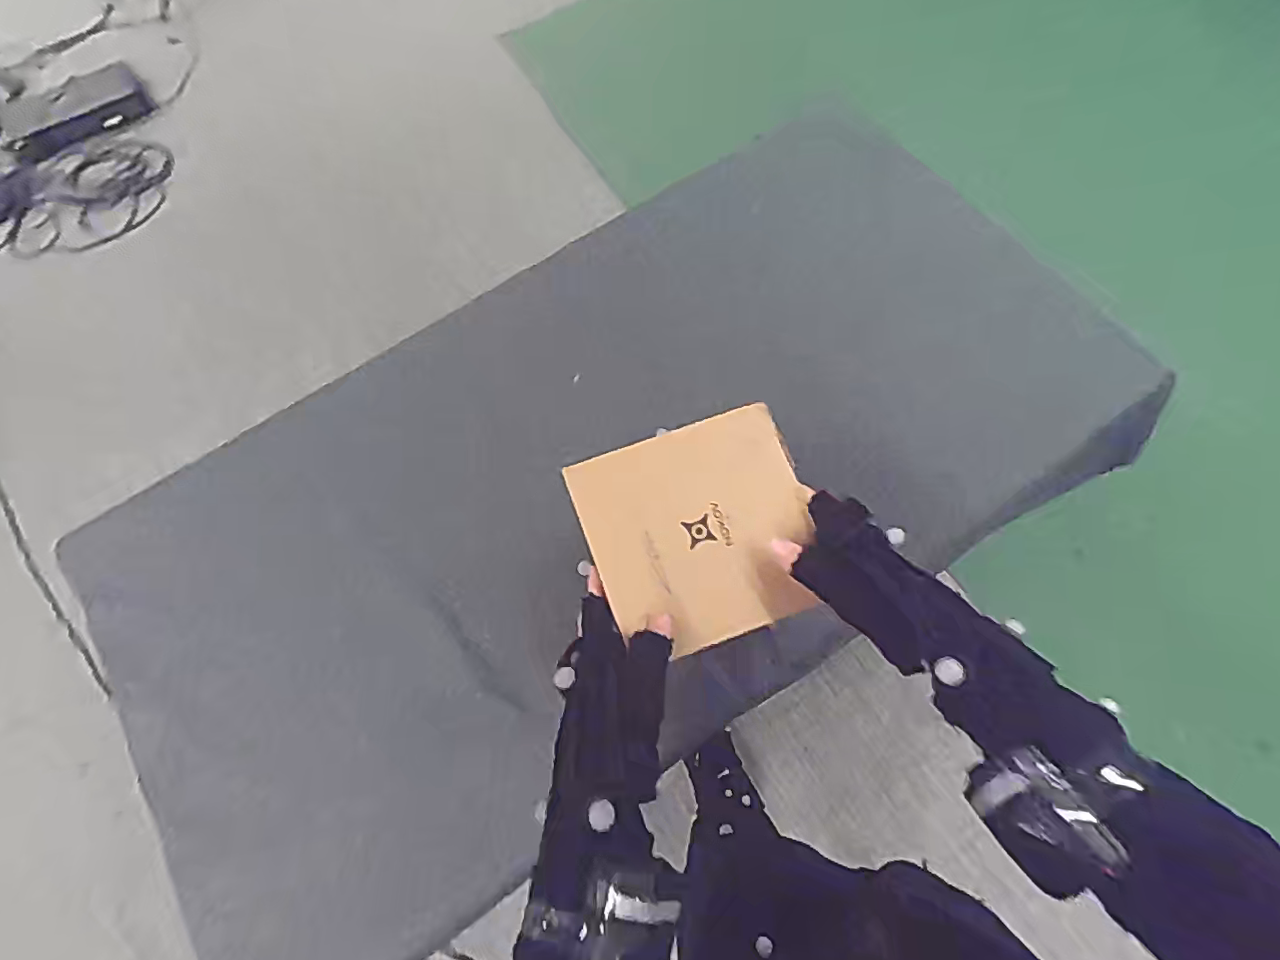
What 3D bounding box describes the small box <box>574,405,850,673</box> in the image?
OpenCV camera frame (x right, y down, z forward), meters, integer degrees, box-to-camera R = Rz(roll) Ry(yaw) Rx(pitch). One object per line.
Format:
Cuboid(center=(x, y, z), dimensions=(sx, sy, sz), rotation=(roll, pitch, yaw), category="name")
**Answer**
Cuboid(center=(0.051, 0.054, 0.495), dimensions=(0.179, 0.176, 0.168), rotation=(-19, 80, -5), category="small box")
